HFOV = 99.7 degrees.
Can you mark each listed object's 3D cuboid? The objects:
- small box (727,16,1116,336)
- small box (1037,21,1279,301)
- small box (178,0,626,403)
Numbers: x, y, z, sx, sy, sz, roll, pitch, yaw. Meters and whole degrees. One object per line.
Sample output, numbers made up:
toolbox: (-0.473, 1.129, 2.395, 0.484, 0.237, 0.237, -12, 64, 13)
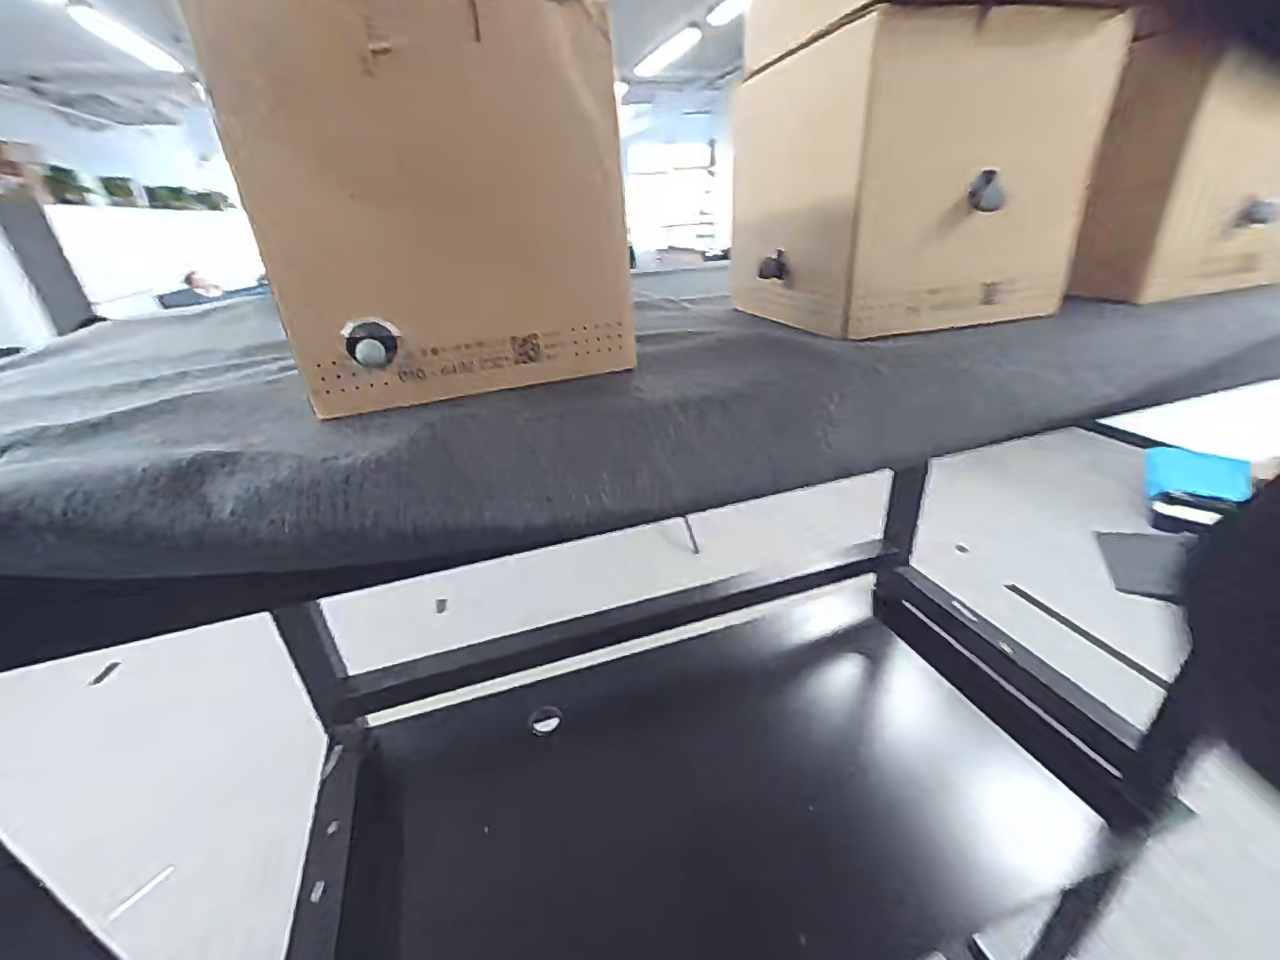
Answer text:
small box: (0.173, -0.205, 0.394, 0.168, 0.176, 0.179, -10, 27, -13)
small box: (0.399, -0.249, 0.452, 0.168, 0.176, 0.179, -12, 27, -14)
small box: (-0.115, -0.150, 0.319, 0.168, 0.176, 0.179, -13, 26, -19)
